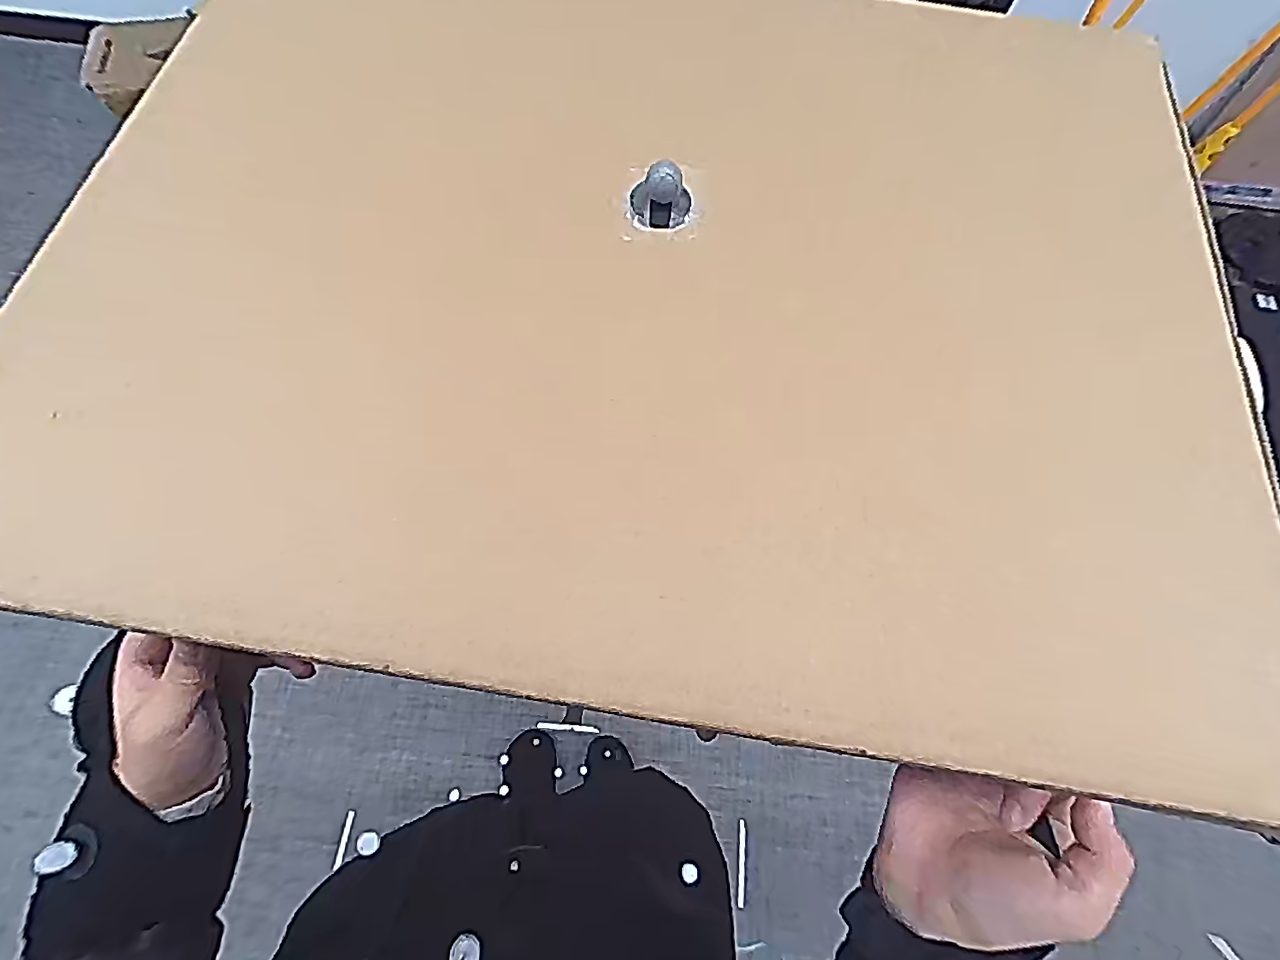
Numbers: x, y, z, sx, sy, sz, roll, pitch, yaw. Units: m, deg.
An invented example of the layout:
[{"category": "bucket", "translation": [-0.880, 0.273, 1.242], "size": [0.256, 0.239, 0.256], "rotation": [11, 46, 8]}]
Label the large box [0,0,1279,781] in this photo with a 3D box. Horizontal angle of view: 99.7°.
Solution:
[{"category": "large box", "translation": [0.001, -0.045, 0.331], "size": [0.408, 0.320, 0.320], "rotation": [9, 72, 2]}]
